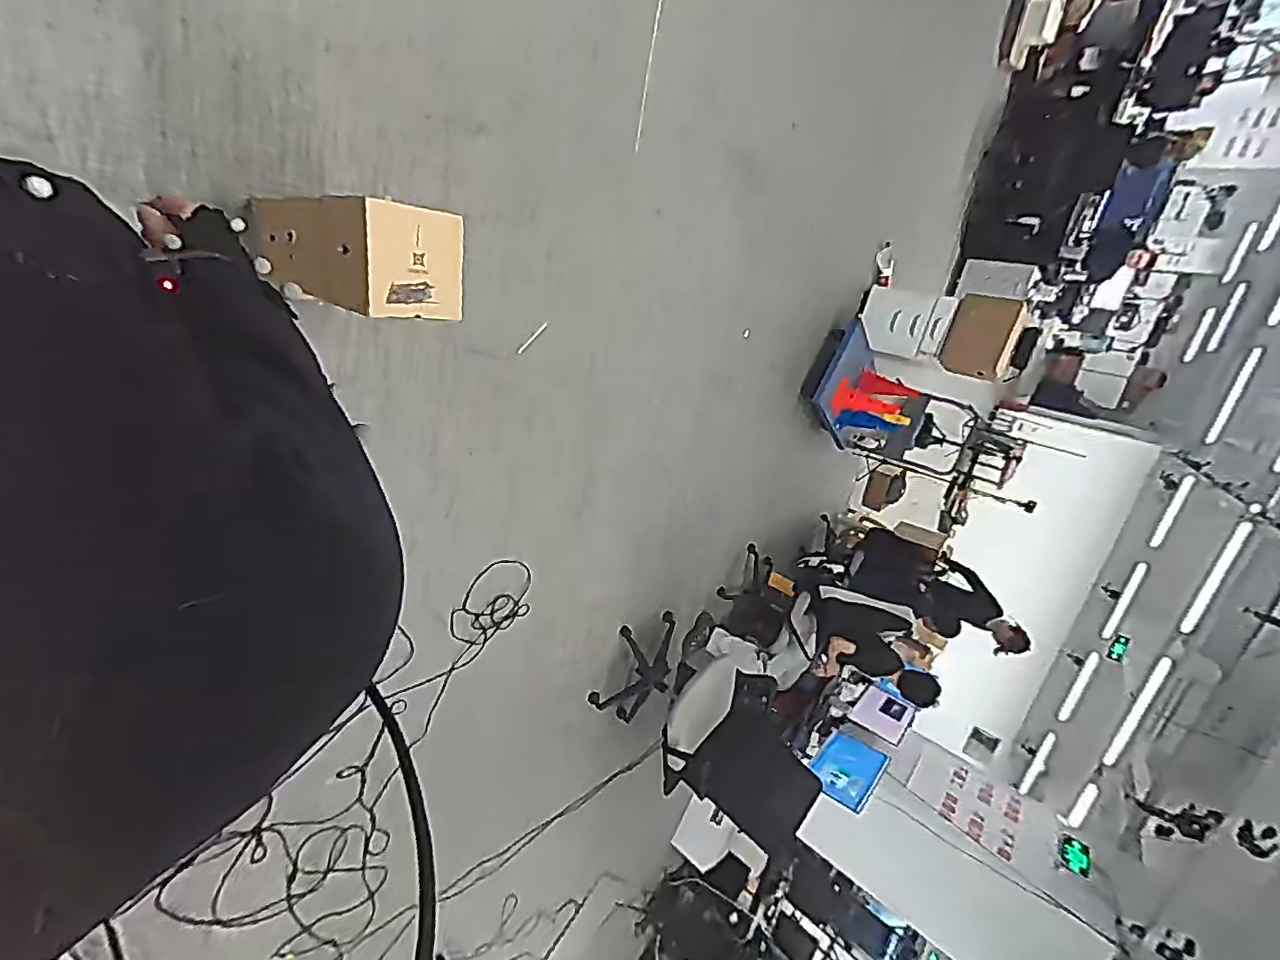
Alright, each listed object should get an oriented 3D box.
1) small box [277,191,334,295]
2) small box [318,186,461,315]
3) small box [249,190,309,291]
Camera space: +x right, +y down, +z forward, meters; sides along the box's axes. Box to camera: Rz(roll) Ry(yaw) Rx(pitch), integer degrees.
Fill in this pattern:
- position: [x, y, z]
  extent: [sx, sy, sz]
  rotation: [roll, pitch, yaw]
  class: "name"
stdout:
- position: [-0.551, -0.441, 1.021]
  extent: [0.179, 0.176, 0.168]
  rotation: [-16, 121, -47]
  class: "small box"
- position: [-0.428, -0.388, 0.925]
  extent: [0.168, 0.176, 0.179]
  rotation: [-15, 120, -48]
  class: "small box"
- position: [-0.678, -0.486, 1.113]
  extent: [0.168, 0.176, 0.179]
  rotation: [-16, 122, -48]
  class: "small box"
